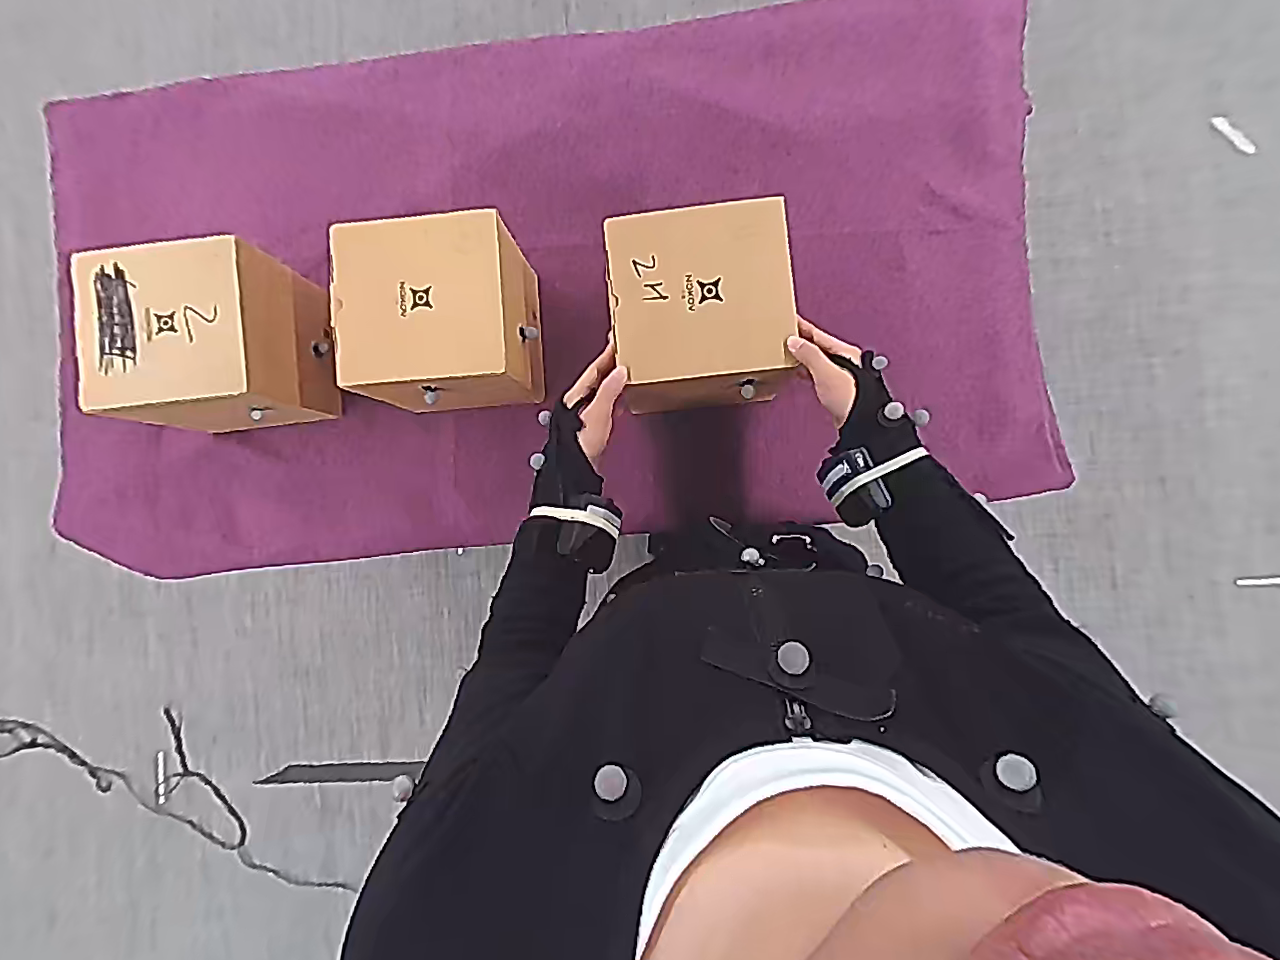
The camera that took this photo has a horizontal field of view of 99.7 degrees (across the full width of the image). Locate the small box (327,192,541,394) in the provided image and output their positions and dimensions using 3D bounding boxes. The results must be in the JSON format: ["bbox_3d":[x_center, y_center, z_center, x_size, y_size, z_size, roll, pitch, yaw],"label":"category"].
[{"bbox_3d":[-0.213,-0.194,0.607,0.179,0.176,0.168,-3,89,5],"label":"small box"}]

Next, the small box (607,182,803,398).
[{"bbox_3d":[0.065,-0.187,0.583,0.179,0.176,0.168,-4,88,4],"label":"small box"}]
